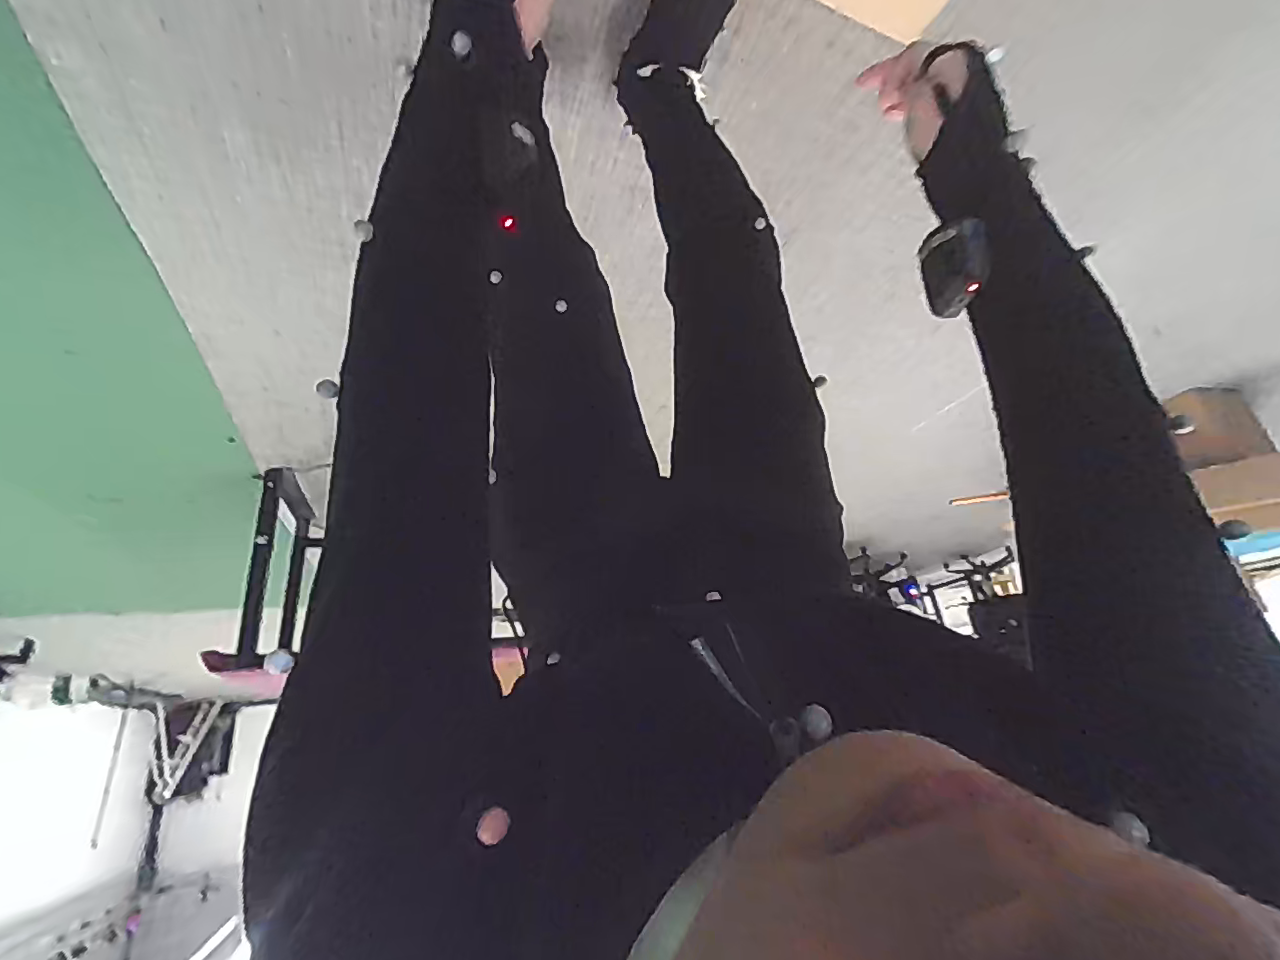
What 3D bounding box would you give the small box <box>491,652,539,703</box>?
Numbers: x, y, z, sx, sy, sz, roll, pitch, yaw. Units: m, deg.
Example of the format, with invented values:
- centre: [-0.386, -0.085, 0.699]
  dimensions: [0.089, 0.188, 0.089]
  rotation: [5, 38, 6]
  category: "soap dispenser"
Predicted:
- centre: [-0.496, 0.775, 2.123]
  dimensions: [0.168, 0.176, 0.179]
  rotation: [1, 156, -19]
  category: "small box"
